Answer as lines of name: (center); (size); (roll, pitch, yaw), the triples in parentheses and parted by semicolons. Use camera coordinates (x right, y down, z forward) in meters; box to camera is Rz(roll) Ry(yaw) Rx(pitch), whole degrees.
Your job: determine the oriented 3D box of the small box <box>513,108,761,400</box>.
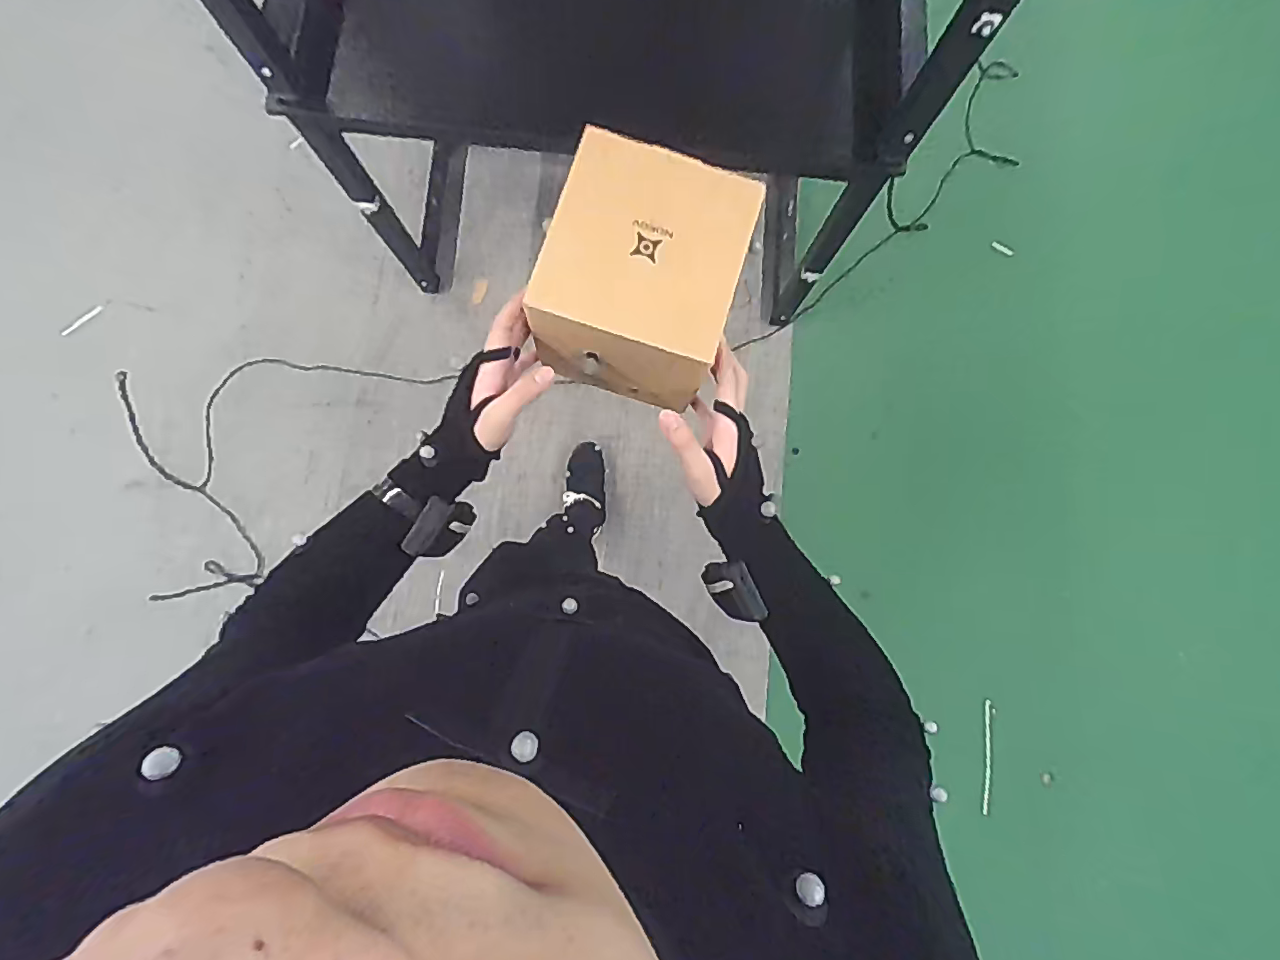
small box: (-0.004, -0.195, 0.519); (0.168, 0.176, 0.179); (18, 80, -2)
